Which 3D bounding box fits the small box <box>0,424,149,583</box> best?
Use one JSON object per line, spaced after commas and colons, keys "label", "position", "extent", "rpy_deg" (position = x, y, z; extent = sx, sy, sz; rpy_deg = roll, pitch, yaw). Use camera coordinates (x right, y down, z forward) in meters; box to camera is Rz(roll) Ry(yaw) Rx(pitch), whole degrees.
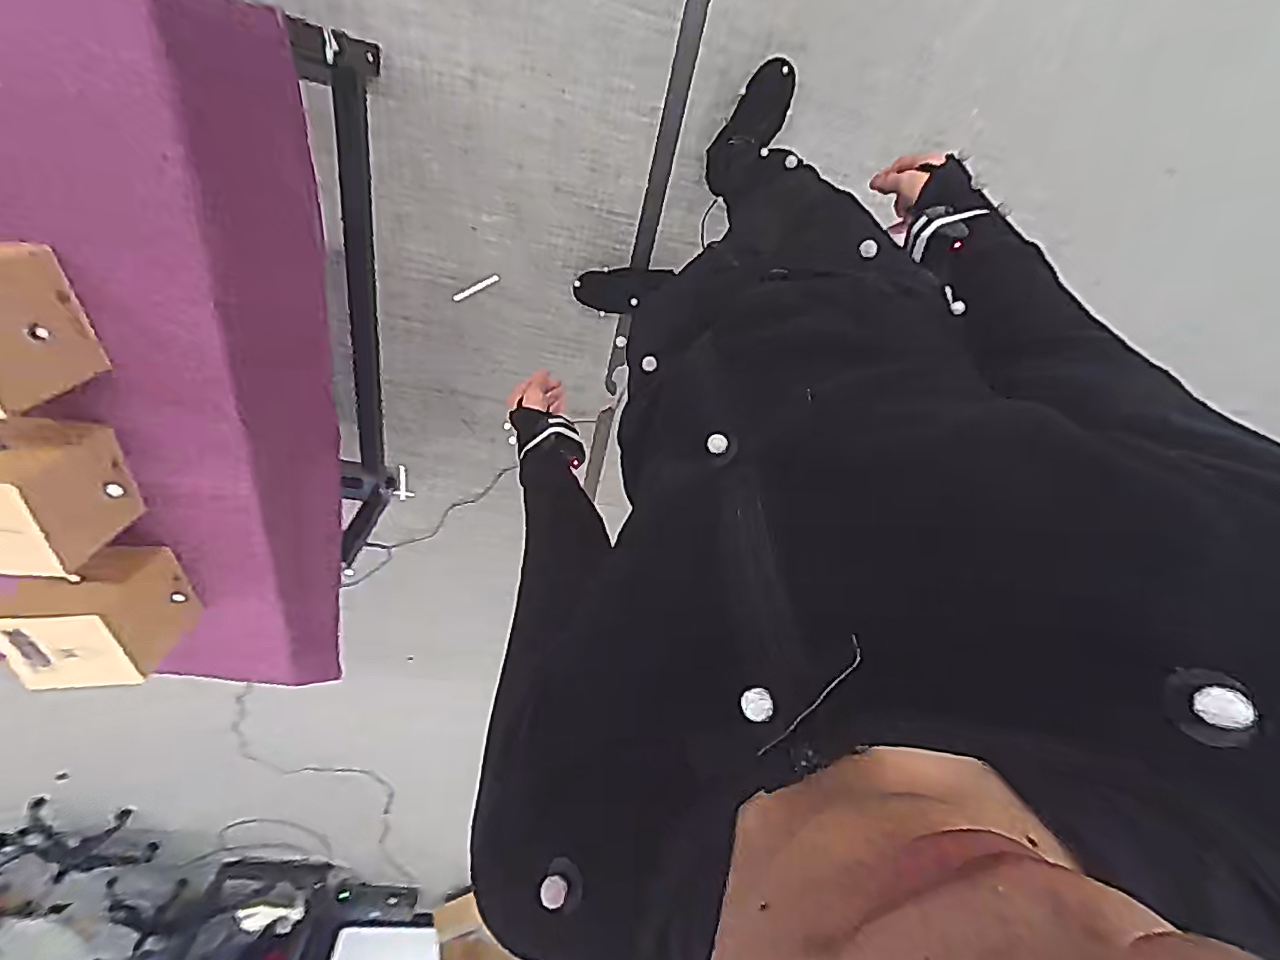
{"label": "small box", "position": [-0.900, 0.029, 0.799], "extent": [0.179, 0.176, 0.168], "rpy_deg": [5, 123, -7]}

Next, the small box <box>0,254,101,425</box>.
{"label": "small box", "position": [-0.837, -0.179, 0.667], "extent": [0.179, 0.176, 0.168], "rpy_deg": [1, 122, -3]}
